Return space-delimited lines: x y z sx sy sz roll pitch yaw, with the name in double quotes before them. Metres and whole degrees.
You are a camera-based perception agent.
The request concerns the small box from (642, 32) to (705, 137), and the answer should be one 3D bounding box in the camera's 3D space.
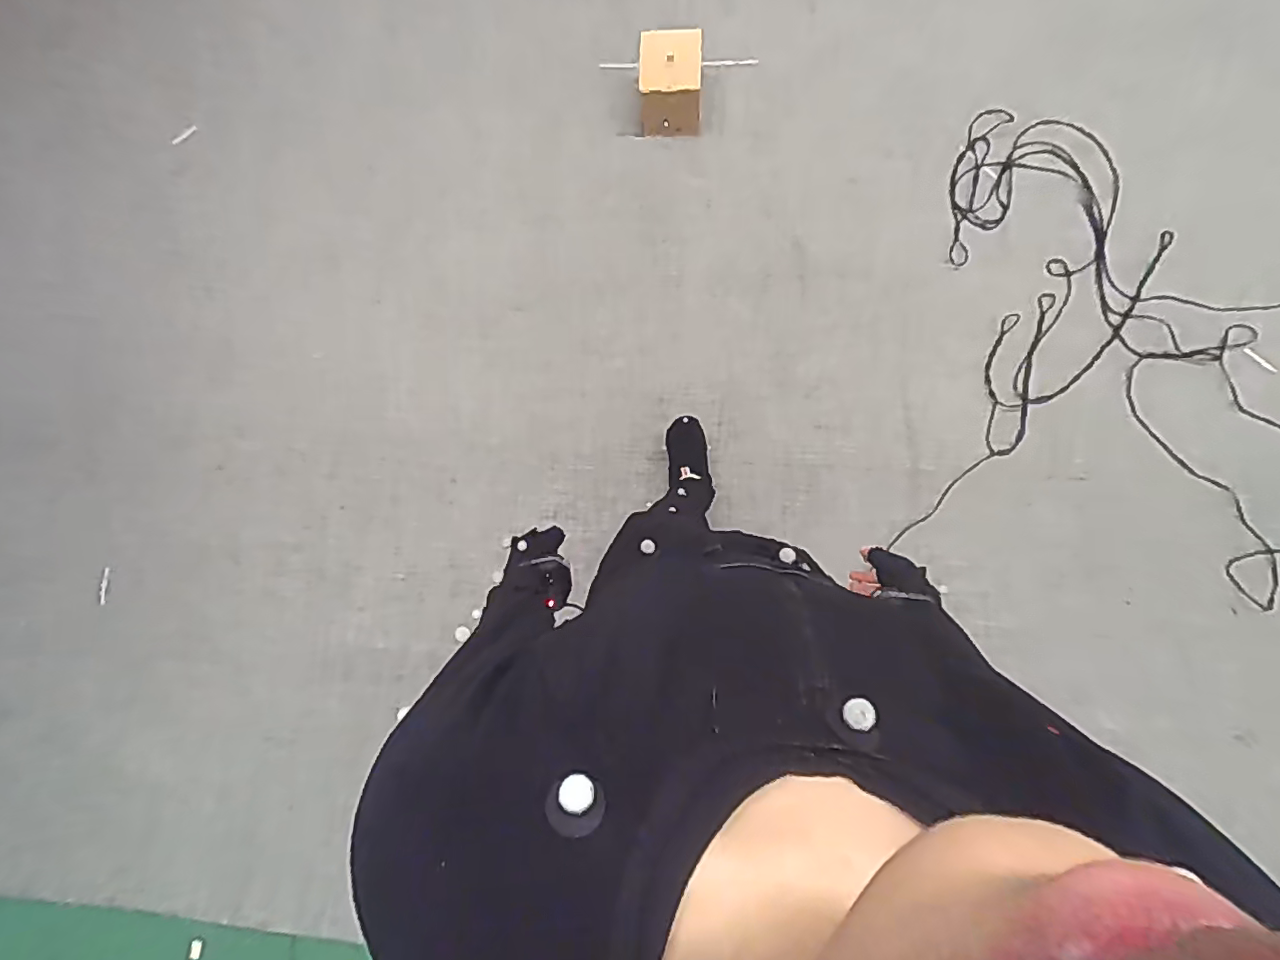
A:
"small box" 0.094 -1.097 1.509 0.168 0.176 0.179 1 85 5
